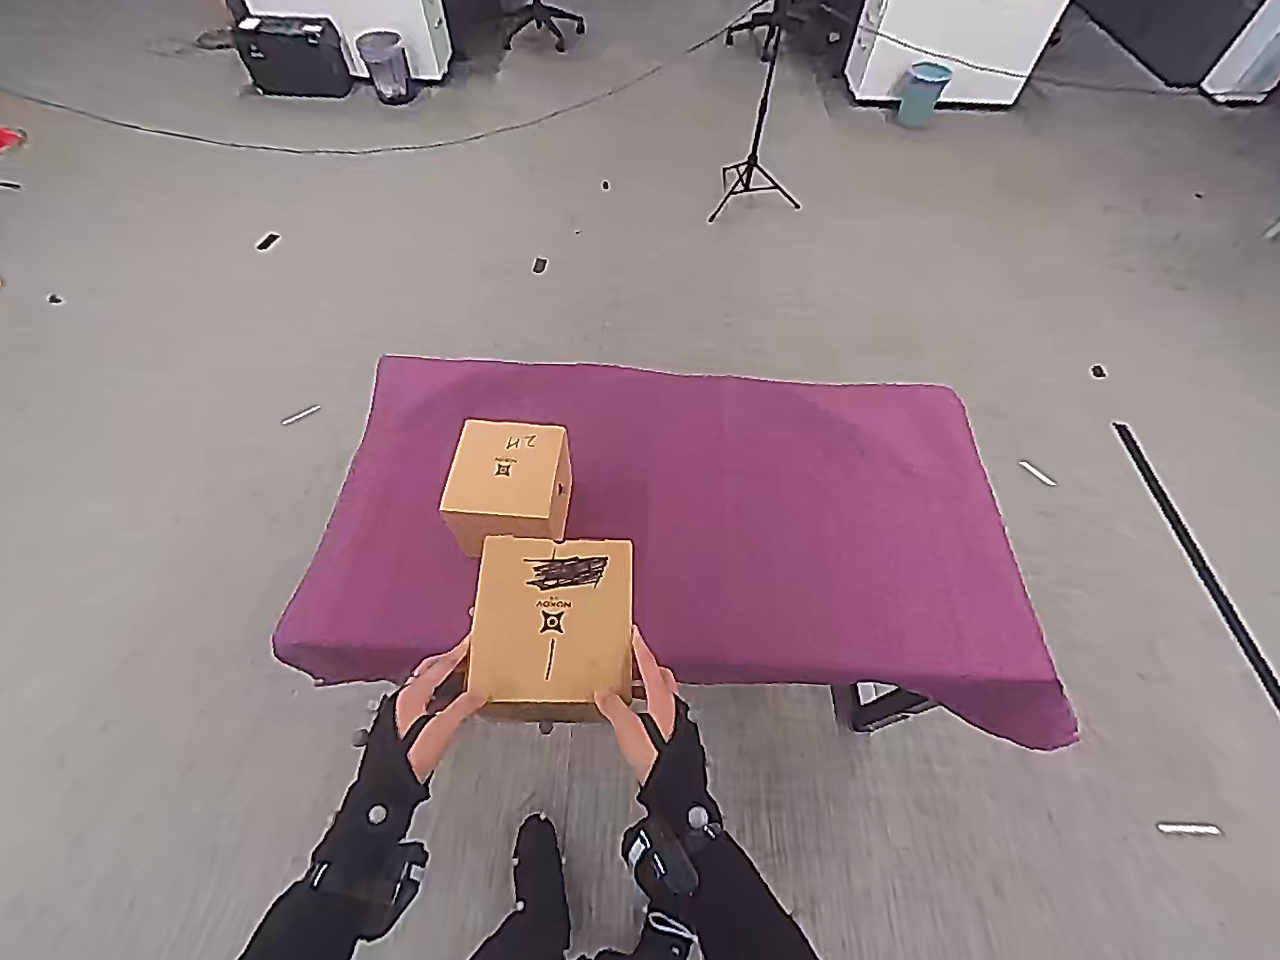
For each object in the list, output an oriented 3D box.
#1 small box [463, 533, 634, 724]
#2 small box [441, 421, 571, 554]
[{"bbox_3d":[-0.098,0.179,0.634,0.168,0.176,0.179,3,60,-5],"label":"small box"},{"bbox_3d":[-0.212,0.025,0.913,0.168,0.176,0.179,5,57,0],"label":"small box"}]
